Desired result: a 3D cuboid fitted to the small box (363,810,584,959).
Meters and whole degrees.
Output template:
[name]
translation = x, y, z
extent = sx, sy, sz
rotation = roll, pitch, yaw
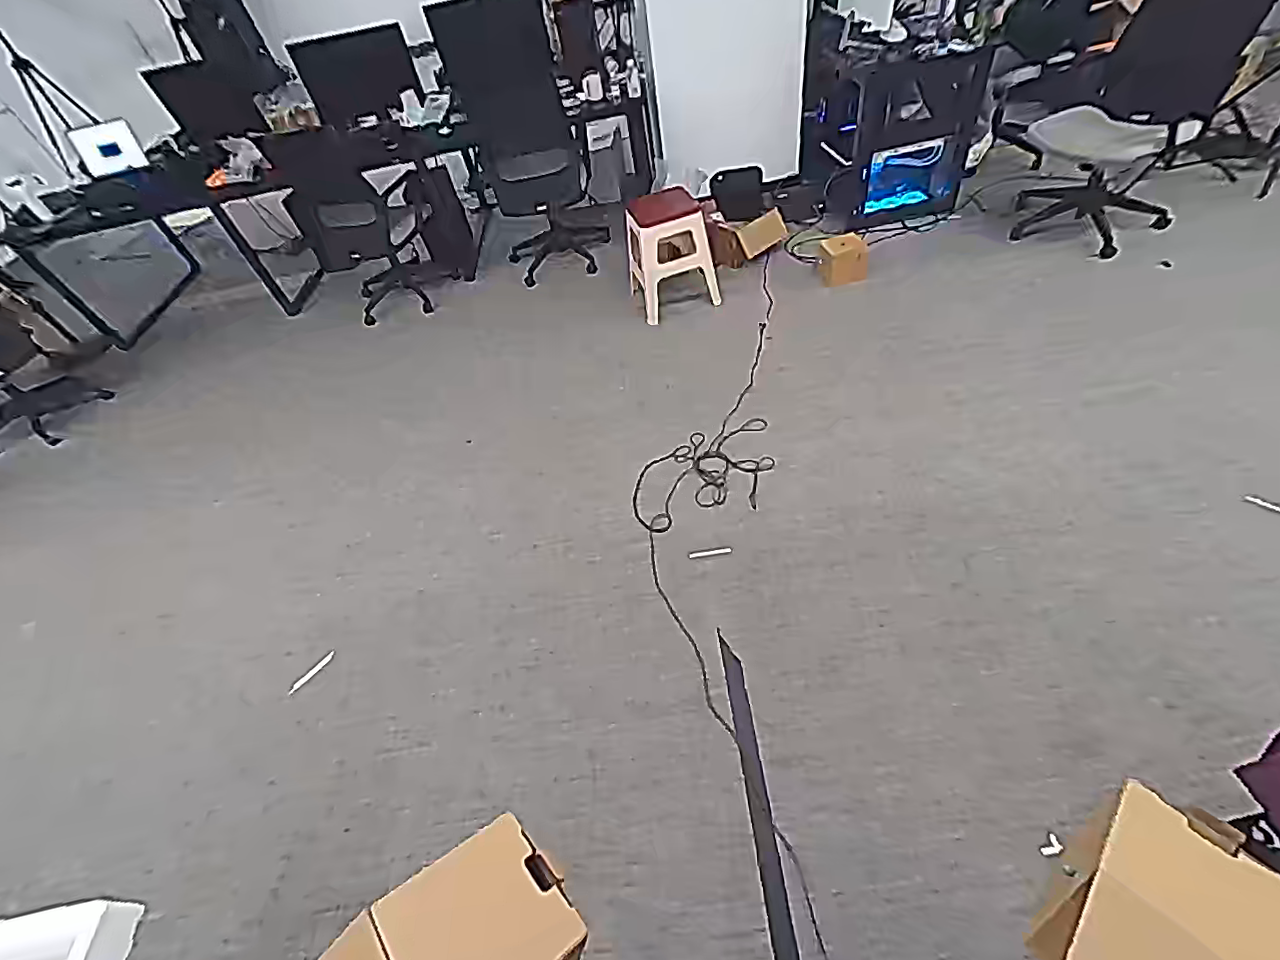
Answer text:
[small box]
translation = -0.188, 0.534, 0.606
extent = 0.179, 0.176, 0.168
rotation = -14, 39, -43
